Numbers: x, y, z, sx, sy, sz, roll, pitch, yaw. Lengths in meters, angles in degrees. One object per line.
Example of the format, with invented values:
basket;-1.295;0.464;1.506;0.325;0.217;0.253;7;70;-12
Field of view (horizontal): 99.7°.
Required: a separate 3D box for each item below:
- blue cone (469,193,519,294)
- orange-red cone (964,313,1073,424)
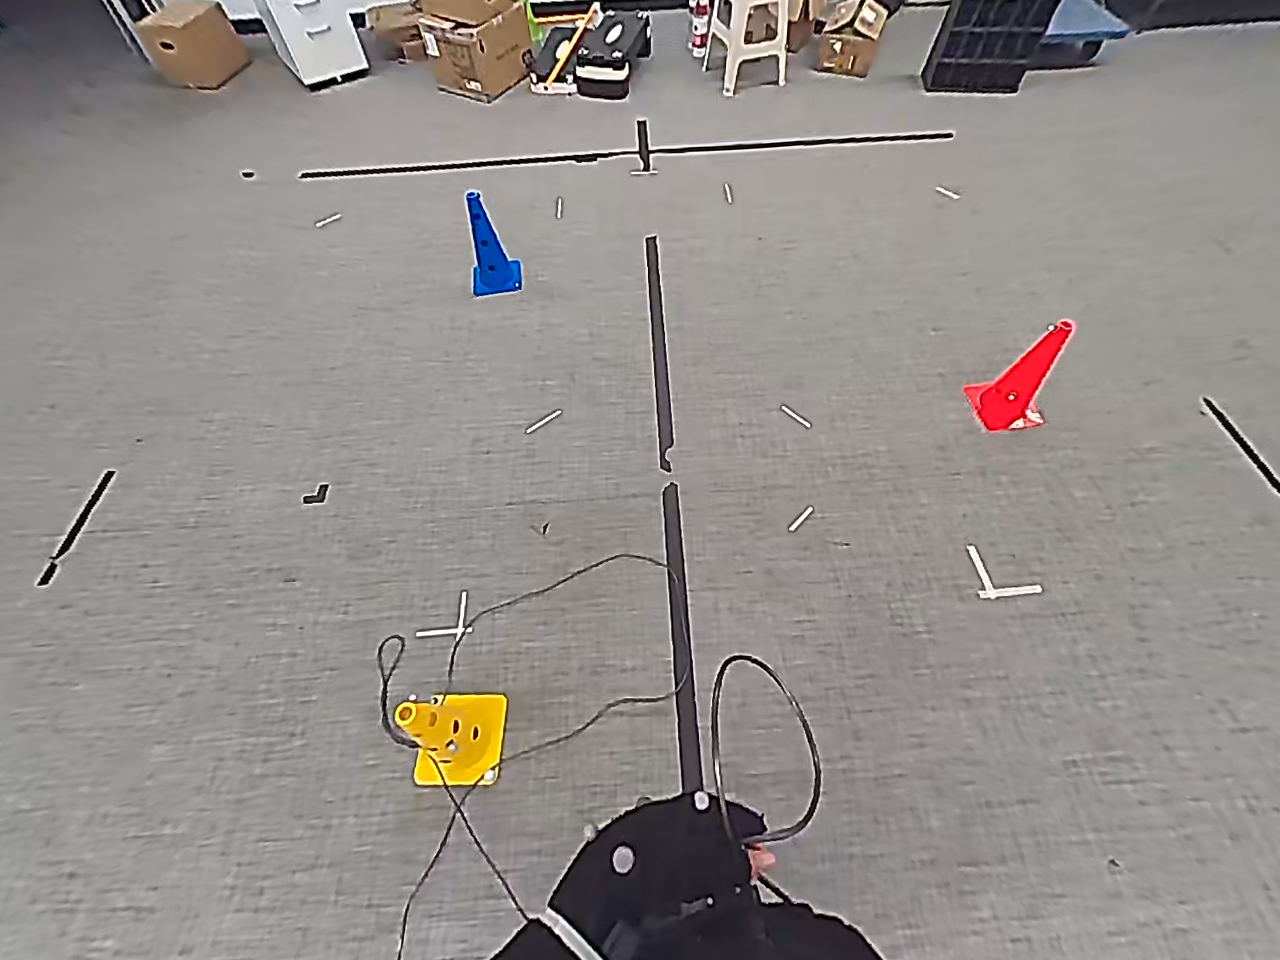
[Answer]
blue cone;-0.610;-0.934;2.123;0.192;0.380;0.193;-8;57;-3
orange-red cone;1.207;-0.363;1.672;0.198;0.360;0.199;-7;56;-3
